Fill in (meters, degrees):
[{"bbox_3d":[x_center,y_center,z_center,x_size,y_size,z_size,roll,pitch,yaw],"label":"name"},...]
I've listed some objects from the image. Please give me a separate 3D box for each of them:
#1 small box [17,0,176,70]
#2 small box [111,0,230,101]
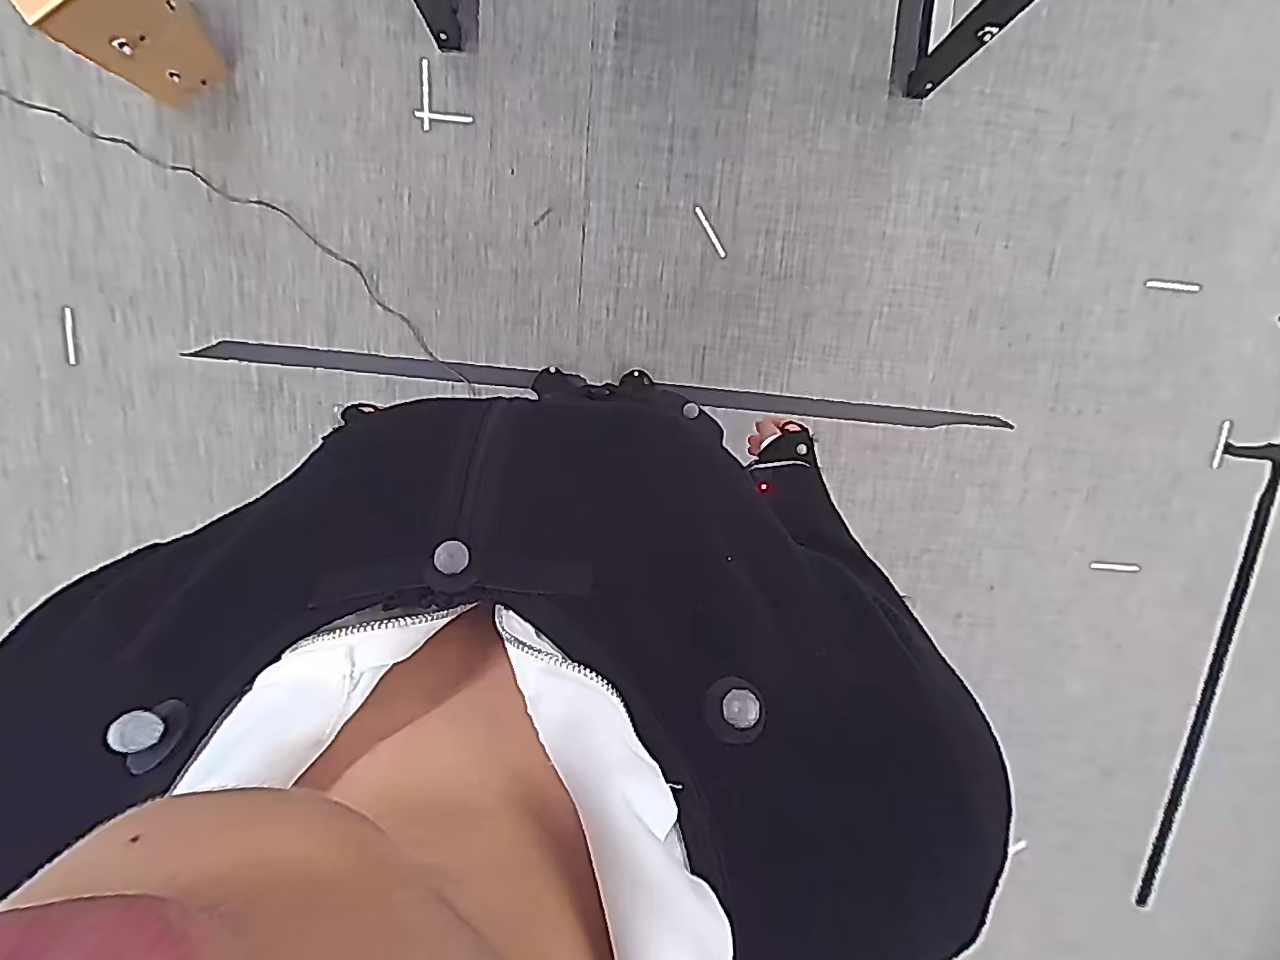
[{"bbox_3d":[-1.050,-0.934,1.015,0.168,0.176,0.179,-32,102,5],"label":"small box"},{"bbox_3d":[-1.056,-0.969,1.175,0.168,0.176,0.179,-28,101,1],"label":"small box"}]
